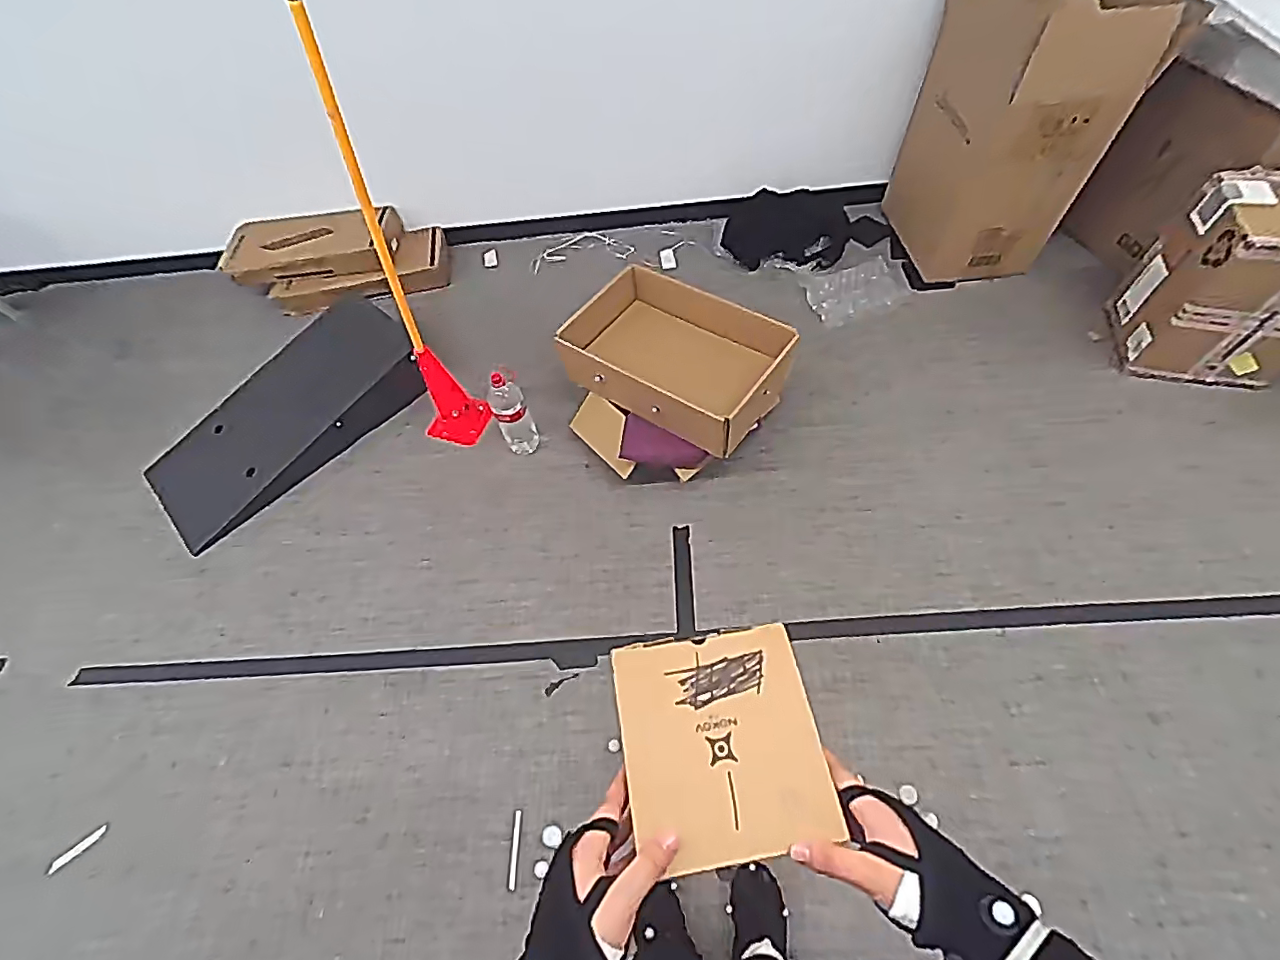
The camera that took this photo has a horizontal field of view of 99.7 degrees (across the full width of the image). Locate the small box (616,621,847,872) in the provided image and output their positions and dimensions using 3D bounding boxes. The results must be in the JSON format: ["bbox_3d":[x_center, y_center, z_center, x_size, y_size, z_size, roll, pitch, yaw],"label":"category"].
[{"bbox_3d":[0.067,0.257,0.523,0.168,0.176,0.179,-8,58,-5],"label":"small box"}]
